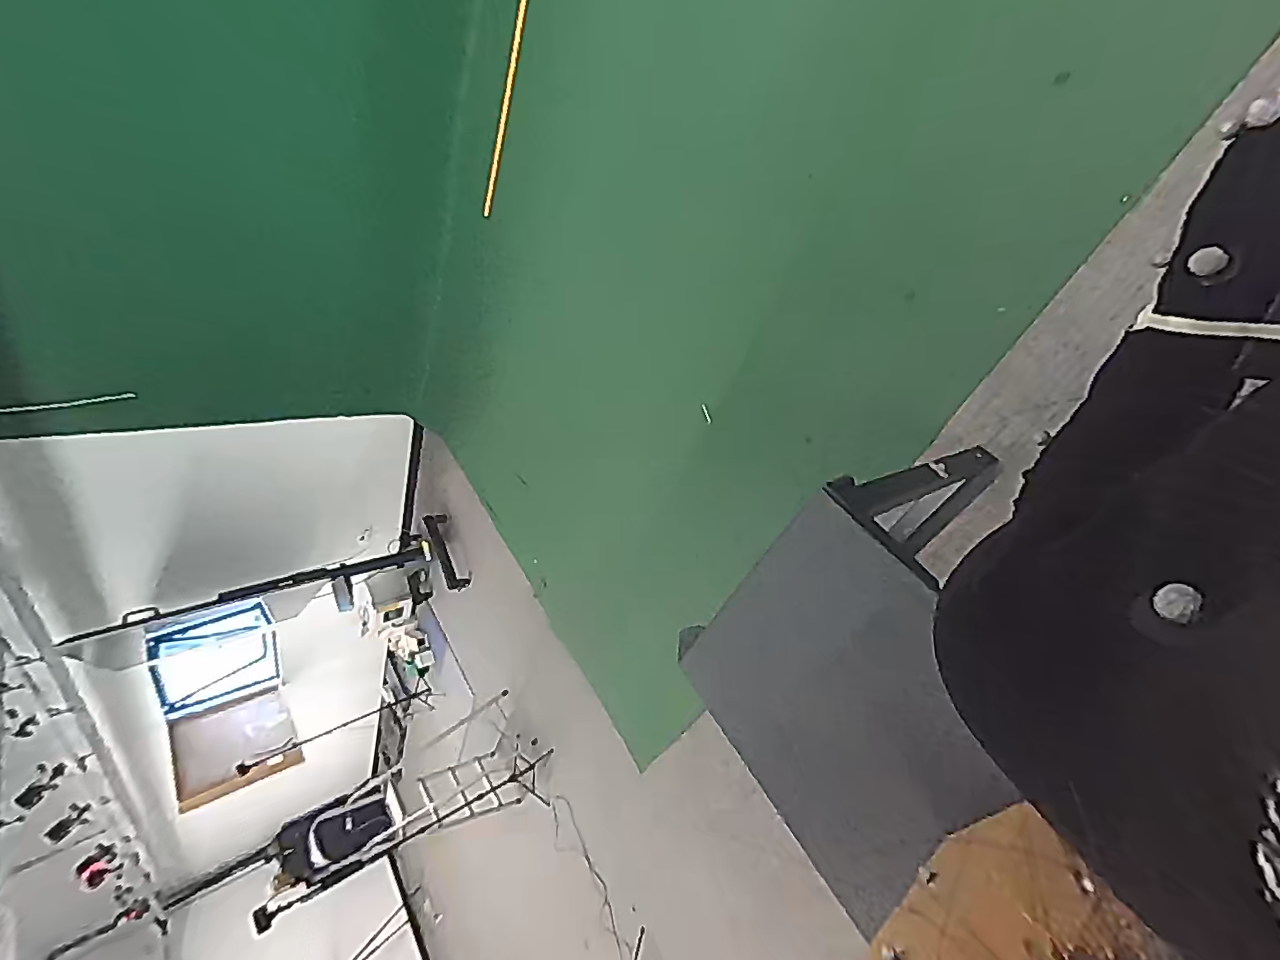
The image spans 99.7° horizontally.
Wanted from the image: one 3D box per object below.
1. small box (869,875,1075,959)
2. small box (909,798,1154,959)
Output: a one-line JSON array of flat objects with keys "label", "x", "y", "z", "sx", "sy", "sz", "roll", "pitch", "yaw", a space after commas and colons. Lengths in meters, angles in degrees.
[{"label": "small box", "x": 0.372, "y": 0.584, "z": 0.591, "sx": 0.168, "sy": 0.176, "sz": 0.179, "roll": 50, "pitch": 134, "yaw": 30}, {"label": "small box", "x": 0.497, "y": 0.551, "z": 0.690, "sx": 0.168, "sy": 0.176, "sz": 0.179, "roll": 50, "pitch": 134, "yaw": 29}]
